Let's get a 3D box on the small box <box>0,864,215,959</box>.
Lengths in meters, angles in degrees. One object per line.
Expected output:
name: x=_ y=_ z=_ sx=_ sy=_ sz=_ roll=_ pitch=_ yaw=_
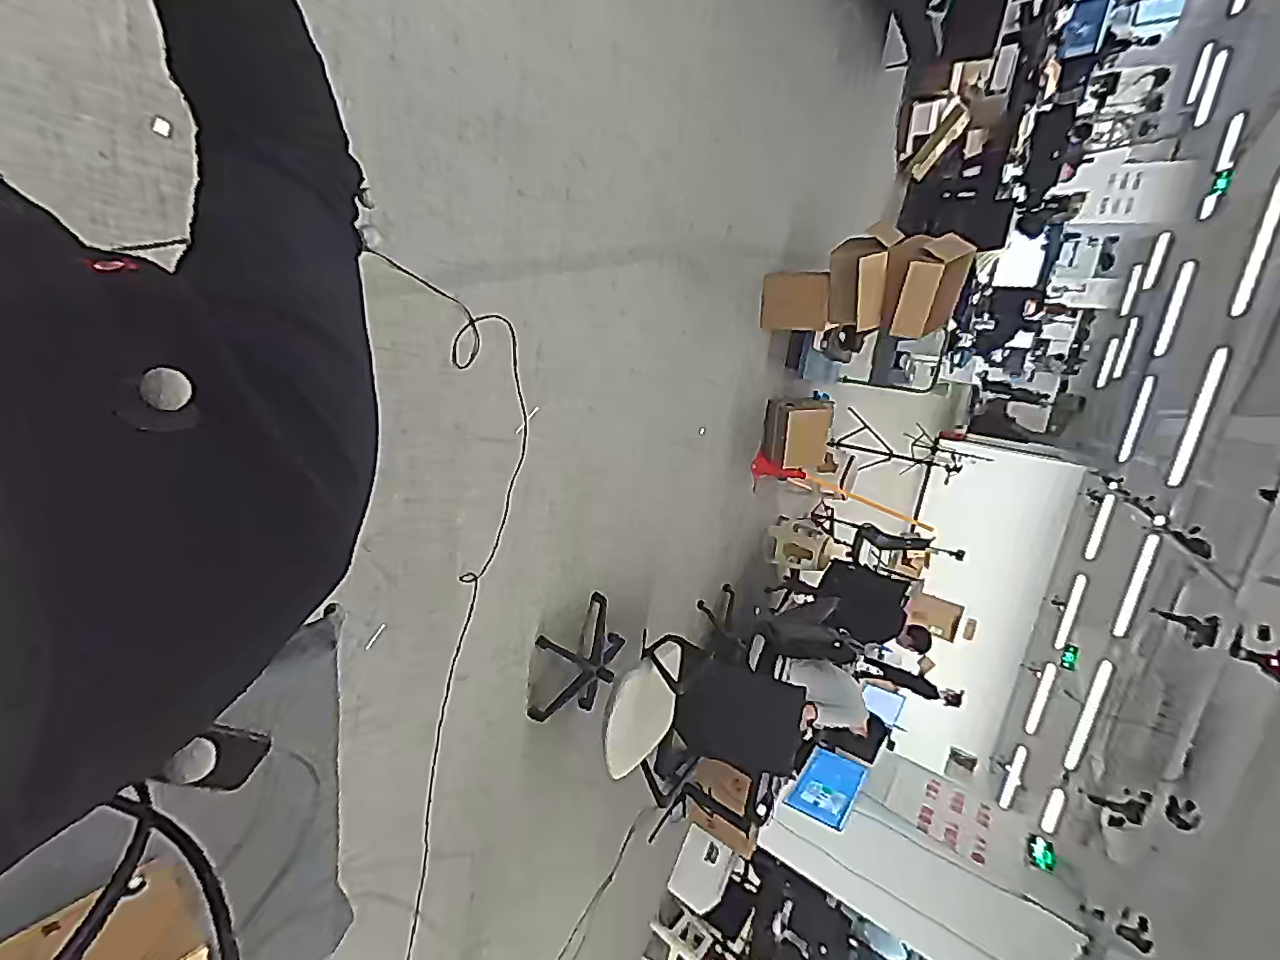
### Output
small box: x=-0.621 y=0.599 z=0.629 sx=0.168 sy=0.176 sz=0.179 roll=-16 pitch=118 yaw=-52
